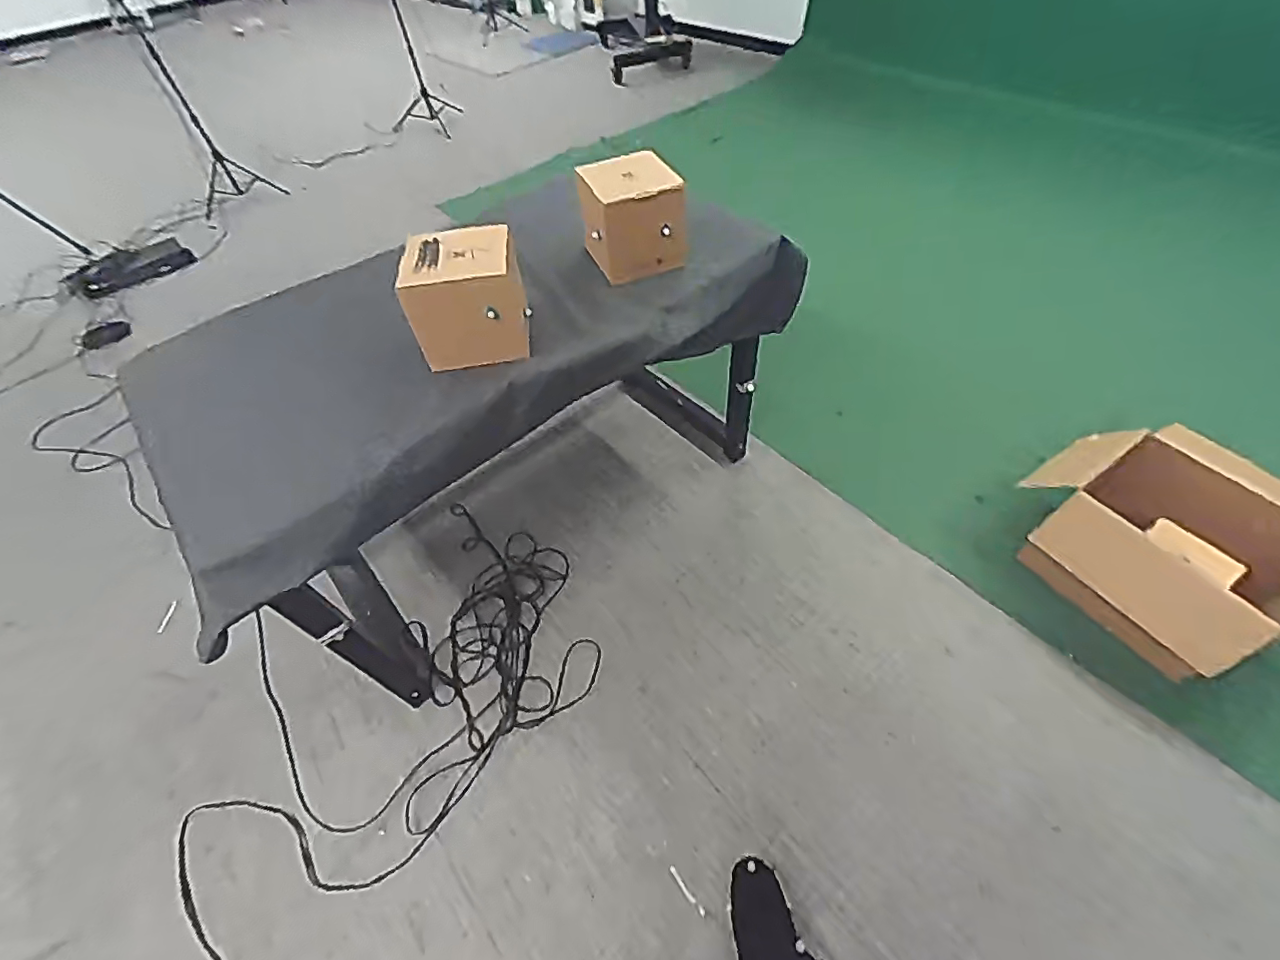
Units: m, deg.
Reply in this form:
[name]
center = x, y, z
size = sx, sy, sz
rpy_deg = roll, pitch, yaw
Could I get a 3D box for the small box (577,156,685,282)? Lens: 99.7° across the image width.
[small box]
center = -0.015, -0.521, 1.095
size = 0.168, 0.176, 0.179
rpy_deg = -19, 51, -11
